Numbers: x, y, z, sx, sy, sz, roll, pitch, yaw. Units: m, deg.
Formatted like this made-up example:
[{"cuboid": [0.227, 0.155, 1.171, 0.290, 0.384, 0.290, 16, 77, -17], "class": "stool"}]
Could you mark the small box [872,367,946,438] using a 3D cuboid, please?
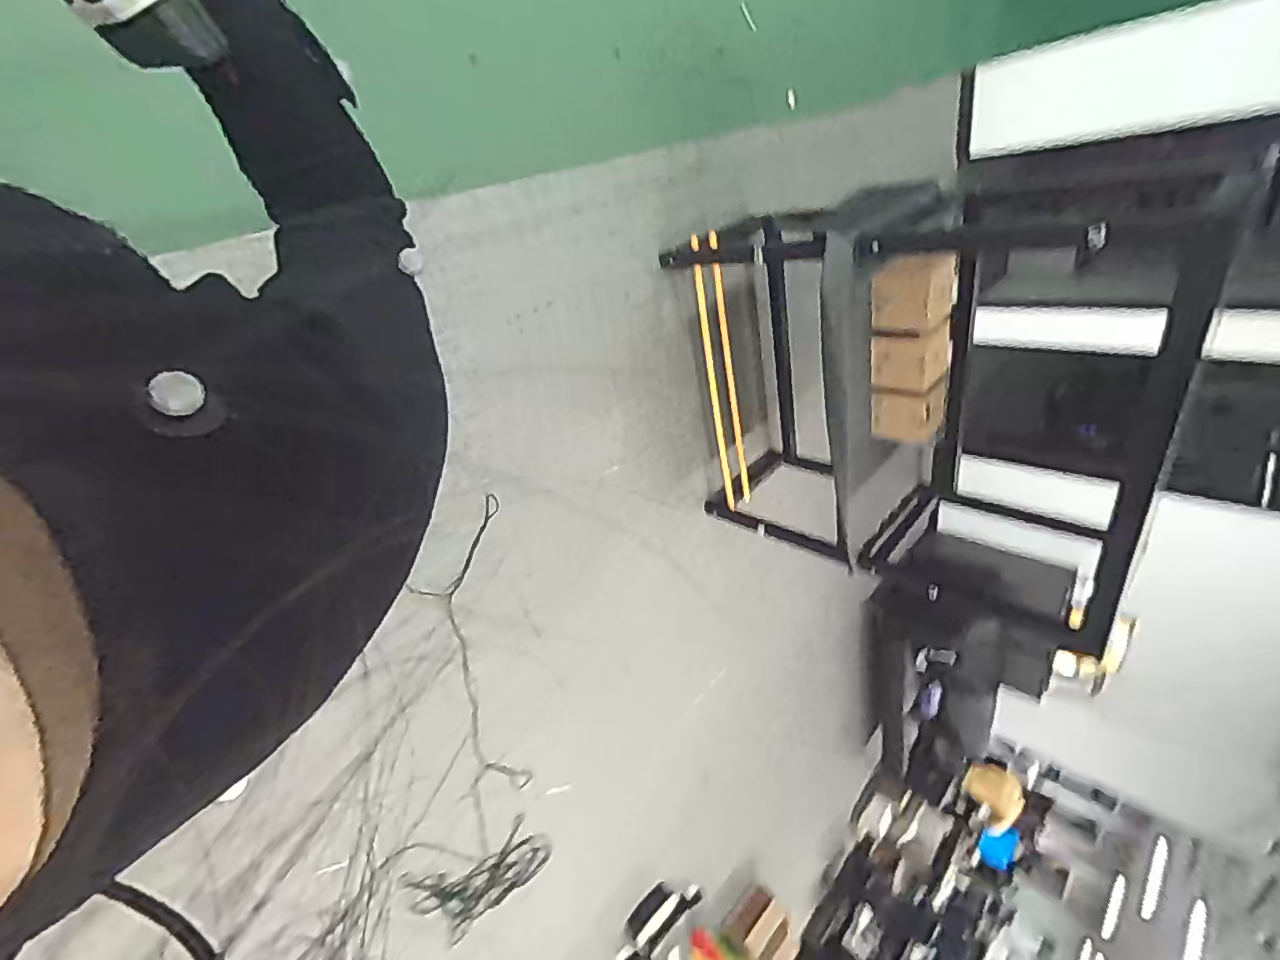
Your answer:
[{"cuboid": [0.886, -0.262, 1.790, 0.179, 0.176, 0.168, -37, 128, -31], "class": "small box"}]

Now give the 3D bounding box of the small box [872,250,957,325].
[{"cuboid": [0.806, -0.571, 1.593, 0.179, 0.176, 0.168, -37, 128, -30], "class": "small box"}]
